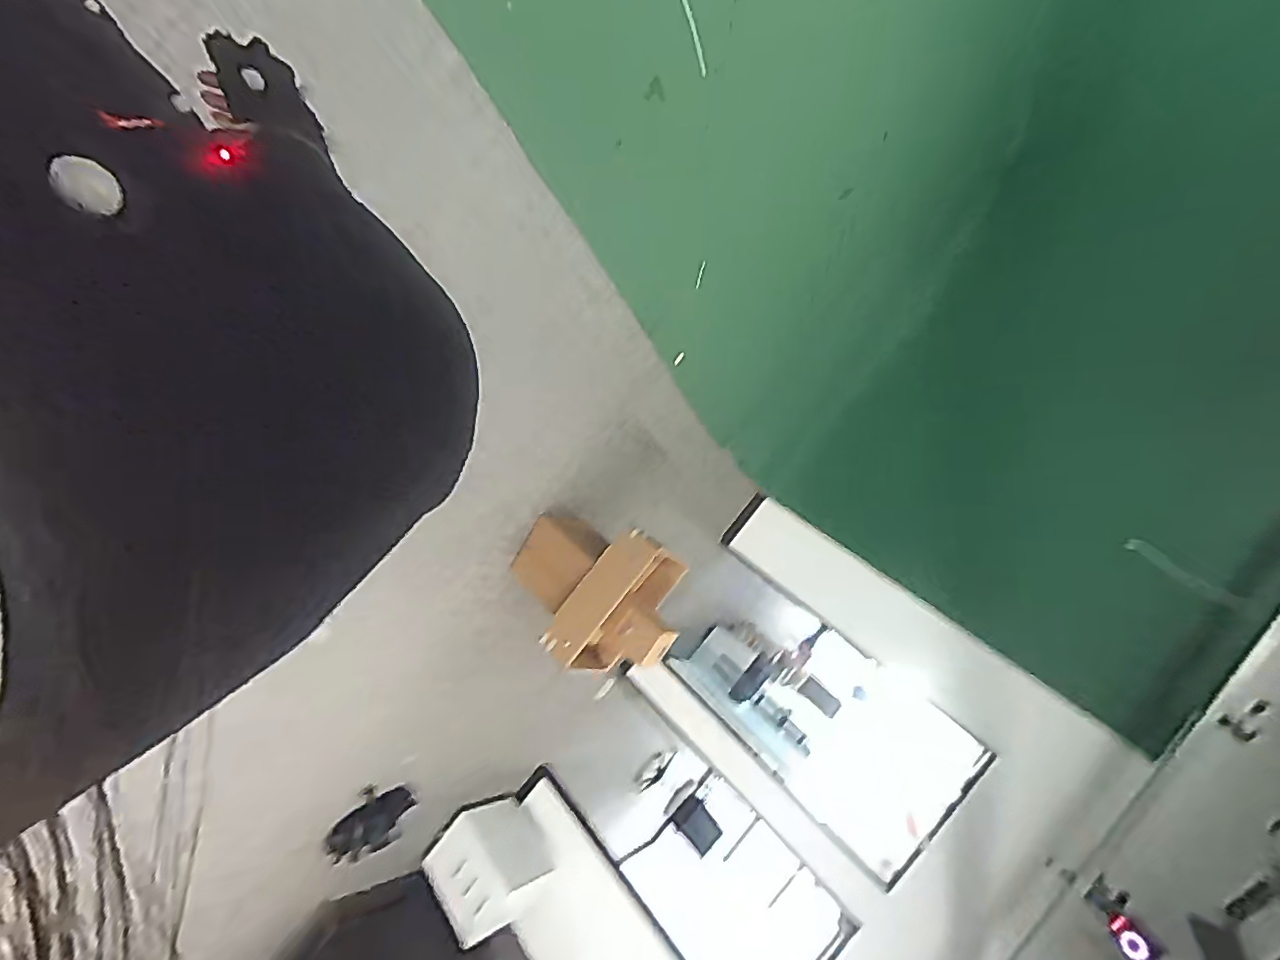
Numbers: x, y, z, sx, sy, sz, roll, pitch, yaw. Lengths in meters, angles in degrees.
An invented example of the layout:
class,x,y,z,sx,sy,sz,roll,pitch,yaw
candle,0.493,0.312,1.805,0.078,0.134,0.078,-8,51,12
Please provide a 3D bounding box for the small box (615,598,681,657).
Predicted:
class,x,y,z,sx,sy,sz,roll,pitch,yaw
small box,0.032,0.597,2.195,0.168,0.176,0.179,-57,149,4

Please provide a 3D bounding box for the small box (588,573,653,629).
class,x,y,z,sx,sy,sz,roll,pitch,yaw
small box,-0.082,0.509,2.275,0.168,0.176,0.179,-56,149,4
